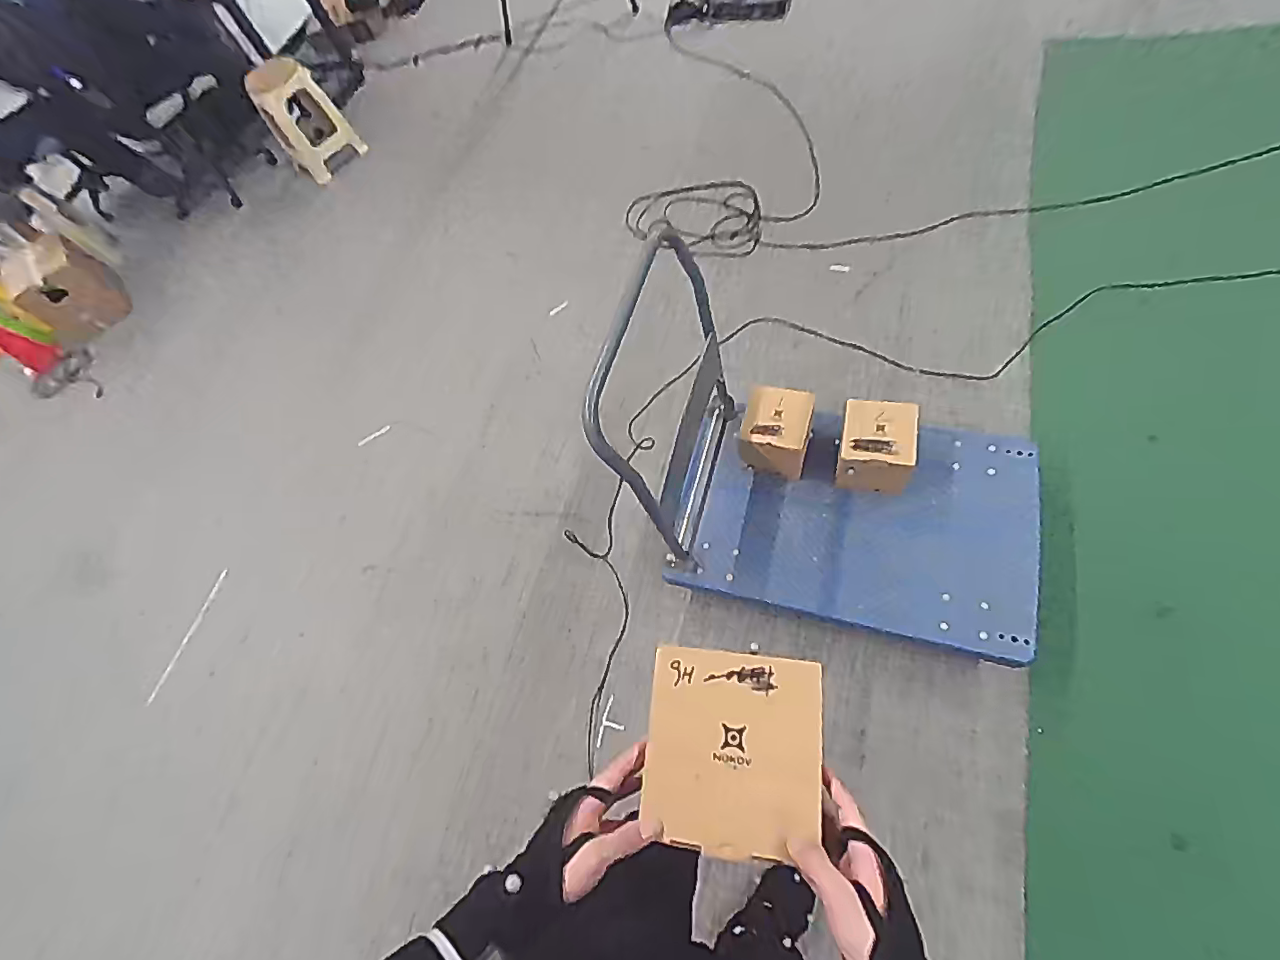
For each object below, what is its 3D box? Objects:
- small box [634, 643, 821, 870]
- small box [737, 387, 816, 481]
[{"bbox_3d":[0.097,0.282,0.589,0.168,0.176,0.179,4,70,10],"label":"small box"},{"bbox_3d":[0.366,-0.118,1.448,0.168,0.176,0.179,13,67,19],"label":"small box"}]
